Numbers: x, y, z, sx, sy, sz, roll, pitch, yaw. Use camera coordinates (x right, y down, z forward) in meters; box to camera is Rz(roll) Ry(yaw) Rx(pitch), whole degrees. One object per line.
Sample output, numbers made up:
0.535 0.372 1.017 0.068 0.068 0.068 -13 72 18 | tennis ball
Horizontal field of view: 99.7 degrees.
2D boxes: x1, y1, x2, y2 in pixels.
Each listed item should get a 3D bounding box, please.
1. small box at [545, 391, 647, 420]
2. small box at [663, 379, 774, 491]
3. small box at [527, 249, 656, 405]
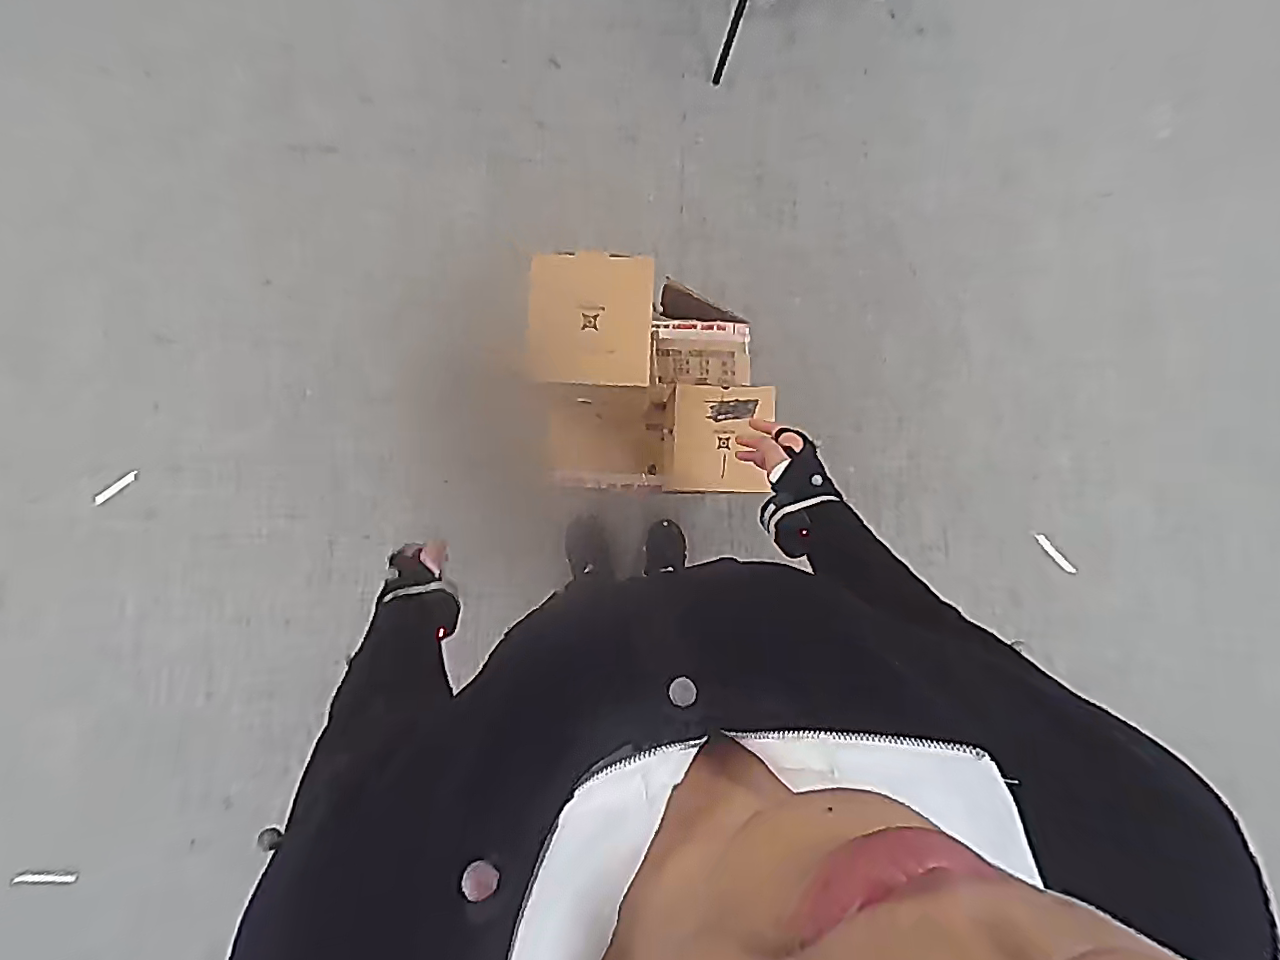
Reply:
-0.069 -0.209 0.953 0.168 0.176 0.179 2 88 0 | small box
0.131 -0.072 0.956 0.168 0.176 0.179 2 89 -3 | small box
-0.065 -0.213 0.791 0.168 0.176 0.179 2 89 0 | small box
